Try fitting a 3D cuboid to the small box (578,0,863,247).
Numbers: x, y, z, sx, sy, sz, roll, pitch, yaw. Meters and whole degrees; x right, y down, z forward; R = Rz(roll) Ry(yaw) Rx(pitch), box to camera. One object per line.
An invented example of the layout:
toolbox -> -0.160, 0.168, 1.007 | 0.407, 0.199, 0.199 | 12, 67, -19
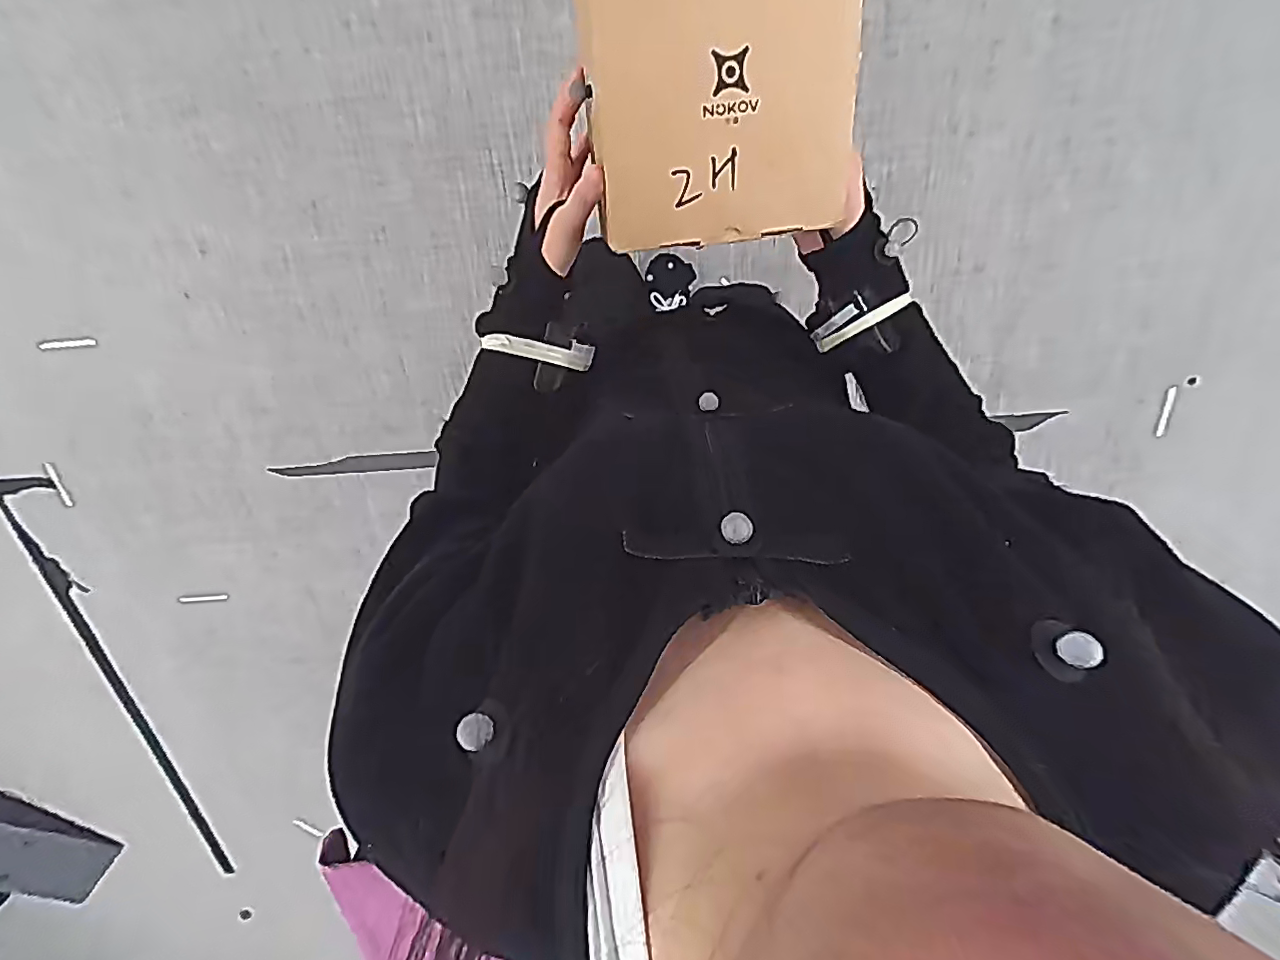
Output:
small box -> 0.046, -0.283, 0.407 | 0.168, 0.176, 0.179 | -8, 119, -3
